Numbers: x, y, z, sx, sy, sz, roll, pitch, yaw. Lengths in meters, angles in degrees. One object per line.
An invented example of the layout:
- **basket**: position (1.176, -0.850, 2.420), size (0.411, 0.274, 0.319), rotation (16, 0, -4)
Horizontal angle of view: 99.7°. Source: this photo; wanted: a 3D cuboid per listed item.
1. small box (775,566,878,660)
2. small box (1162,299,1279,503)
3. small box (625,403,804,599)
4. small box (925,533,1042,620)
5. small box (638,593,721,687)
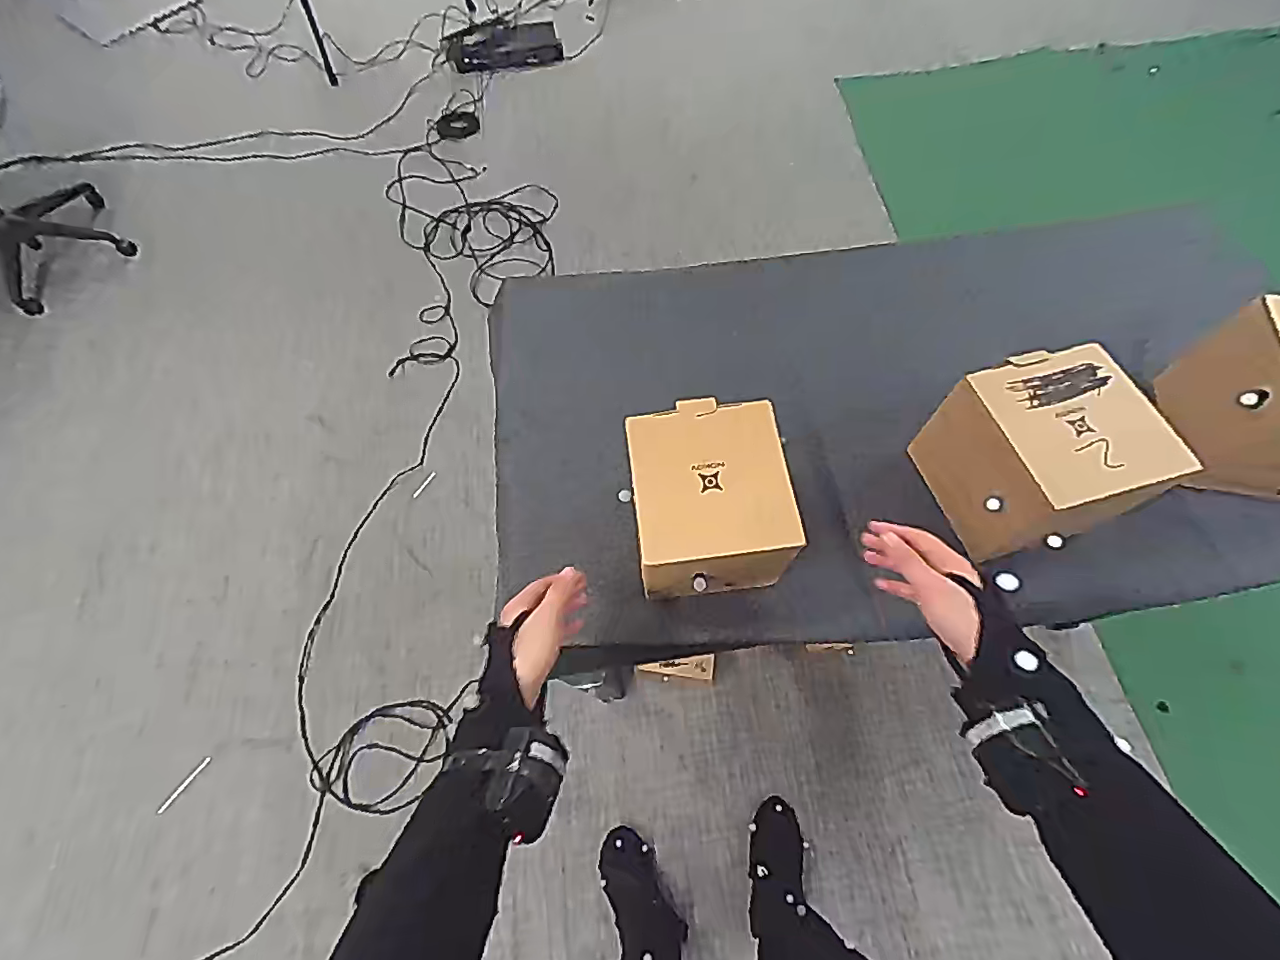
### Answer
- **small box**: position (0.433, 0.323, 1.284), size (0.168, 0.176, 0.179), rotation (-10, 64, -2)
- **small box**: position (0.788, -0.082, 0.644), size (0.168, 0.176, 0.179), rotation (11, 63, 8)
- **small box**: position (0.078, 0.035, 0.635), size (0.168, 0.176, 0.179), rotation (-7, 65, 0)
- **small box**: position (0.811, 0.237, 1.302), size (0.179, 0.176, 0.168), rotation (4, 66, 4)
- **small box**: position (0.093, 0.379, 1.278), size (0.168, 0.176, 0.179), rotation (7, 65, 7)
